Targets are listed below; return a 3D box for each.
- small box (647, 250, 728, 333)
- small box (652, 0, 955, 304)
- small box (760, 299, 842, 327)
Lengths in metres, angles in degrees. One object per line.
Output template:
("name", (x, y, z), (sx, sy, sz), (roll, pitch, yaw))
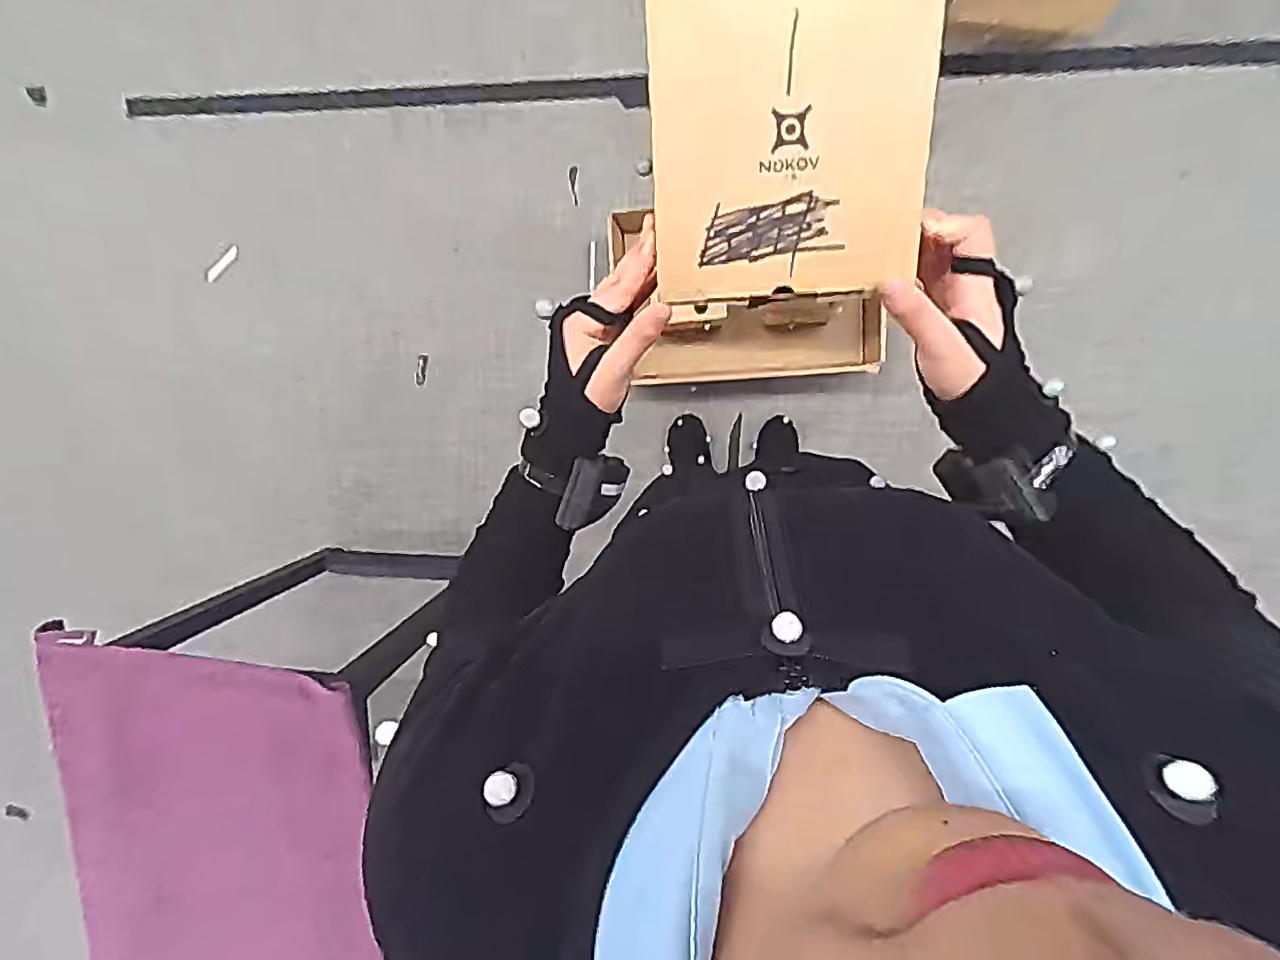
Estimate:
("small box", (0.113, -0.452, 1.296), (0.179, 0.176, 0.168), (-4, 98, 6))
("small box", (0.096, -0.226, 0.395), (0.168, 0.176, 0.179), (-1, 110, 4))
("small box", (0.371, -0.461, 1.267), (0.168, 0.176, 0.179), (-2, 99, 8))
